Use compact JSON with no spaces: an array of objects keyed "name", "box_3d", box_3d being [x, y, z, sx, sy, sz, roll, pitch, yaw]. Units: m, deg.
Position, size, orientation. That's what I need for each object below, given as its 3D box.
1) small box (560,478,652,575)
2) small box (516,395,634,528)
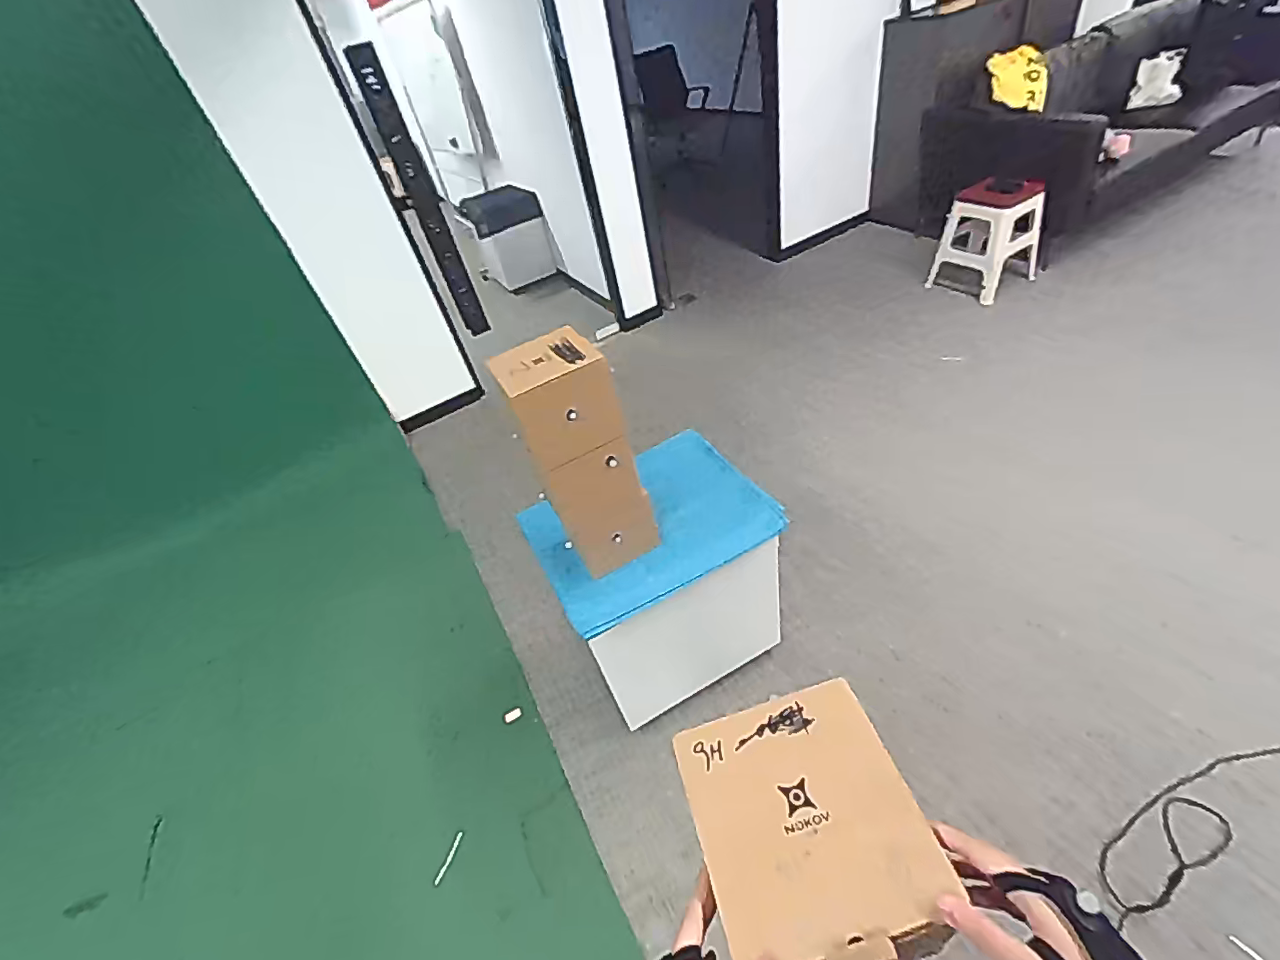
[{"name":"small box","box_3d":[-0.086,0.077,1.204,0.179,0.176,0.168,-27,43,-14]},{"name":"small box","box_3d":[-0.124,-0.038,1.092,0.179,0.176,0.168,-27,42,-14]}]
